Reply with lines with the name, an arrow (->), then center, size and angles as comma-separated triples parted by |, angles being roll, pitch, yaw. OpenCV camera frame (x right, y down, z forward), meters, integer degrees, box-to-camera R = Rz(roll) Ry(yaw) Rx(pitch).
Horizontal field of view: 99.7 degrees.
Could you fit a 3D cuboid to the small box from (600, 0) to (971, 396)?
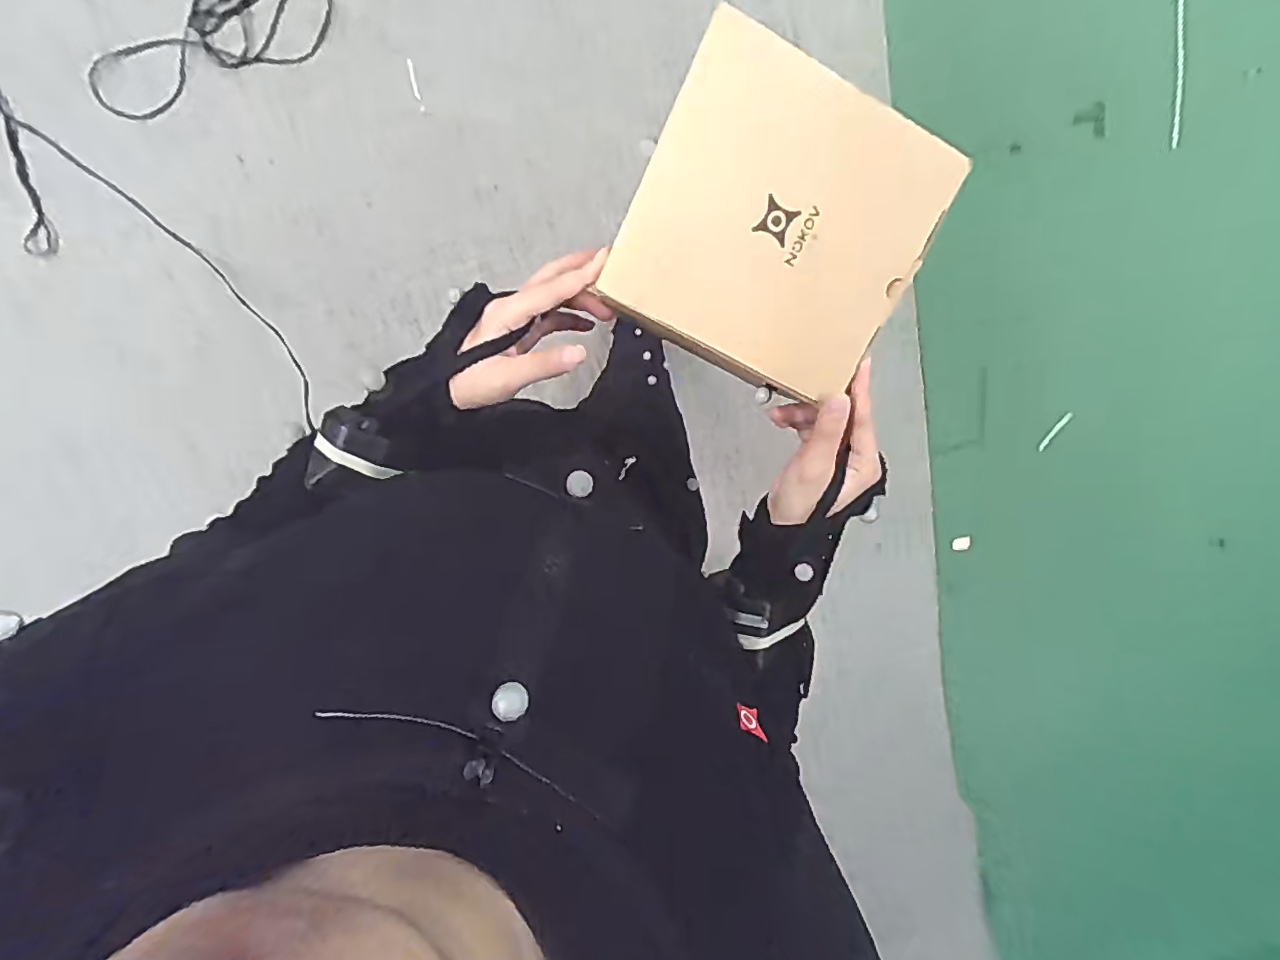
small box -> 0.080, -0.177, 0.399 | 0.179, 0.176, 0.168 | 24, 102, -10
